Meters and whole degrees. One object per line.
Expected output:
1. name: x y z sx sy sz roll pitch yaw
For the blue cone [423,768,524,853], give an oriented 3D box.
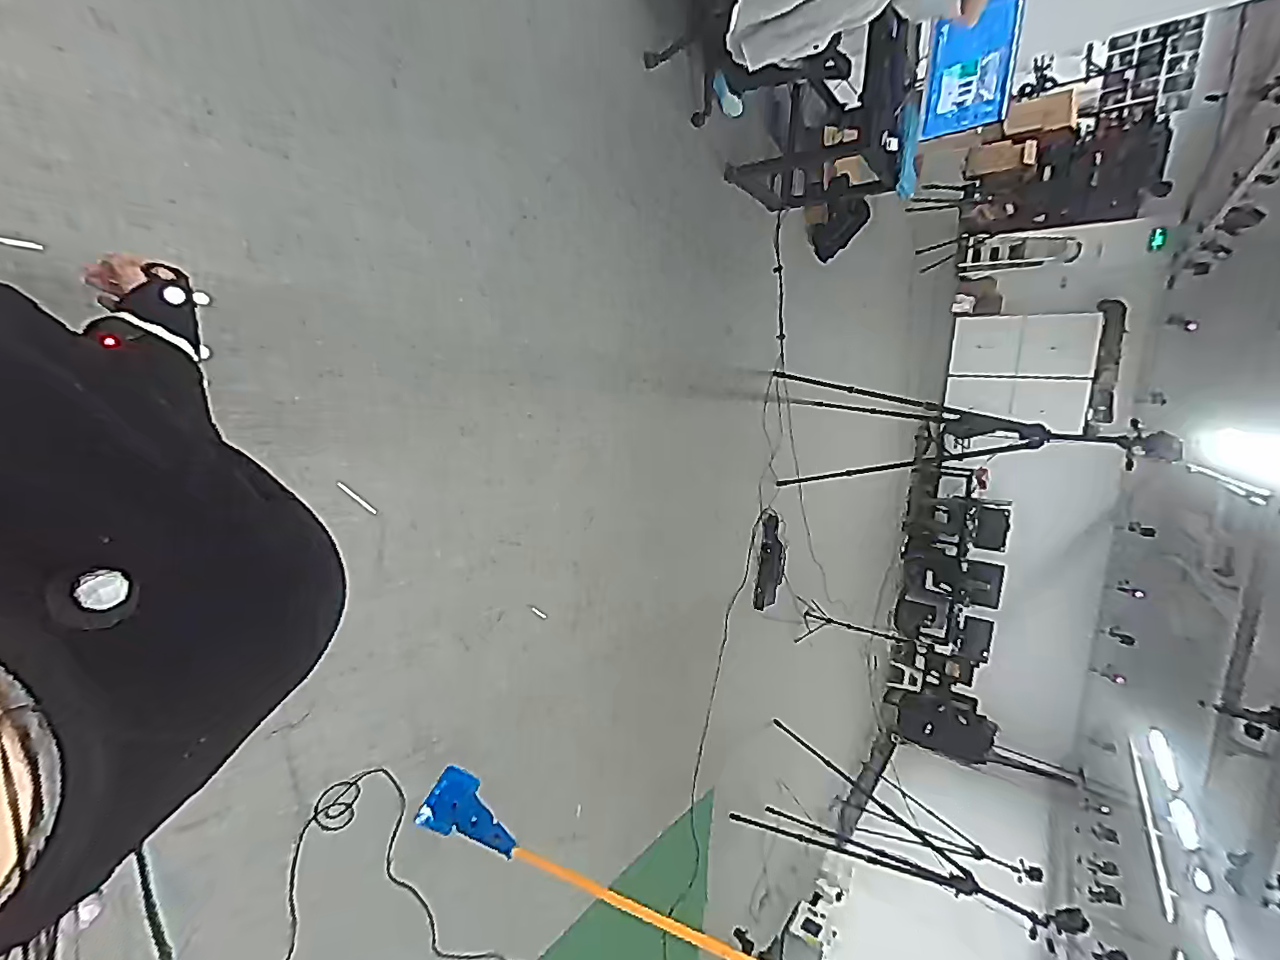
1. blue cone: -0.535 1.147 1.821 0.193 0.380 0.192 -61 138 -28
